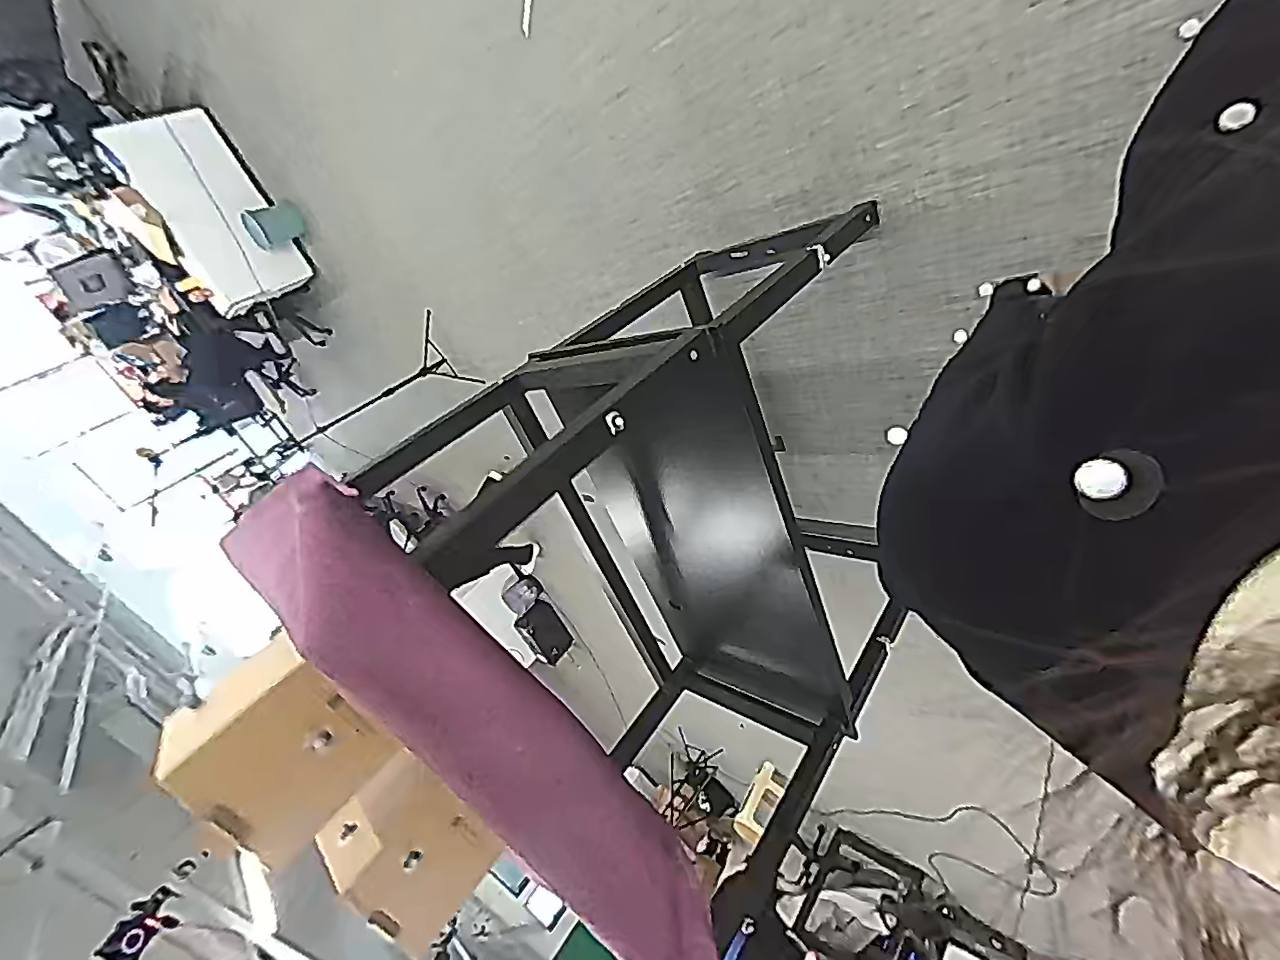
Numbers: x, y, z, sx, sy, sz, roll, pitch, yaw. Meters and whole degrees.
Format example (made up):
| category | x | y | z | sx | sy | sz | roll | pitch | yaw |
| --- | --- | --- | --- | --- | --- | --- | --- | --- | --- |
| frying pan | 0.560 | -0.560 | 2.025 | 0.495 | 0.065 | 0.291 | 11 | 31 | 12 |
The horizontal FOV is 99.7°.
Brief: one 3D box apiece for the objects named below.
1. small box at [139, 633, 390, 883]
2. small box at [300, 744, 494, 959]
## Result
| category | x | y | z | sx | sy | sz | roll | pitch | yaw |
| --- | --- | --- | --- | --- | --- | --- | --- | --- | --- |
| small box | -0.429 | 0.307 | 0.638 | 0.179 | 0.176 | 0.168 | -1 | 126 | 51 |
| small box | -0.337 | 0.516 | 0.770 | 0.179 | 0.176 | 0.168 | 2 | 127 | 49 |
